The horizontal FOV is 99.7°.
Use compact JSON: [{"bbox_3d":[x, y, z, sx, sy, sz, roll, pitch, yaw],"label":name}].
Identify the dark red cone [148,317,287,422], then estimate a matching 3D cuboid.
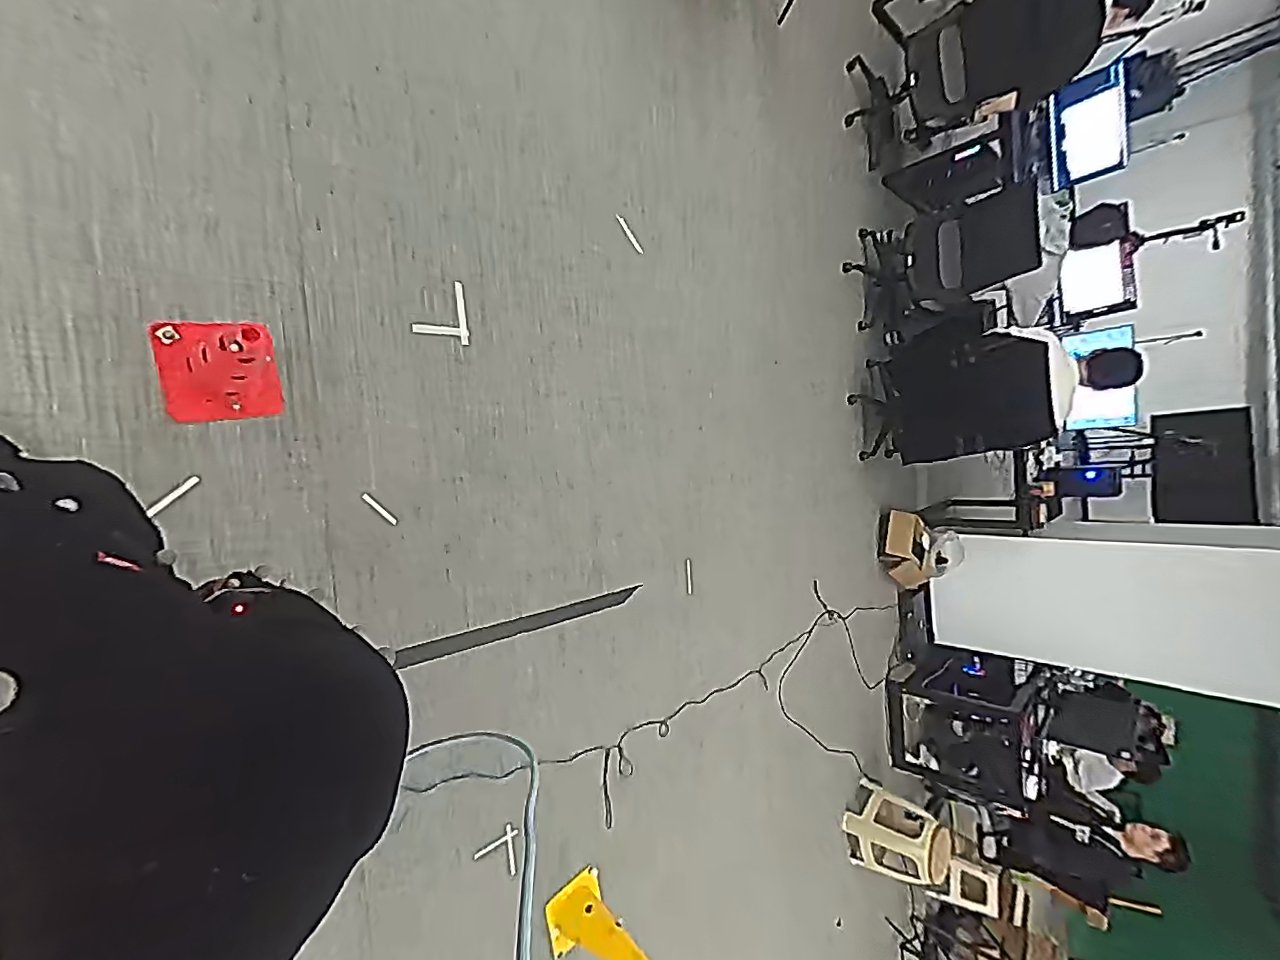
[{"bbox_3d":[-0.727,-0.224,0.971,0.202,0.394,0.201,-16,101,-44],"label":"dark red cone"}]
